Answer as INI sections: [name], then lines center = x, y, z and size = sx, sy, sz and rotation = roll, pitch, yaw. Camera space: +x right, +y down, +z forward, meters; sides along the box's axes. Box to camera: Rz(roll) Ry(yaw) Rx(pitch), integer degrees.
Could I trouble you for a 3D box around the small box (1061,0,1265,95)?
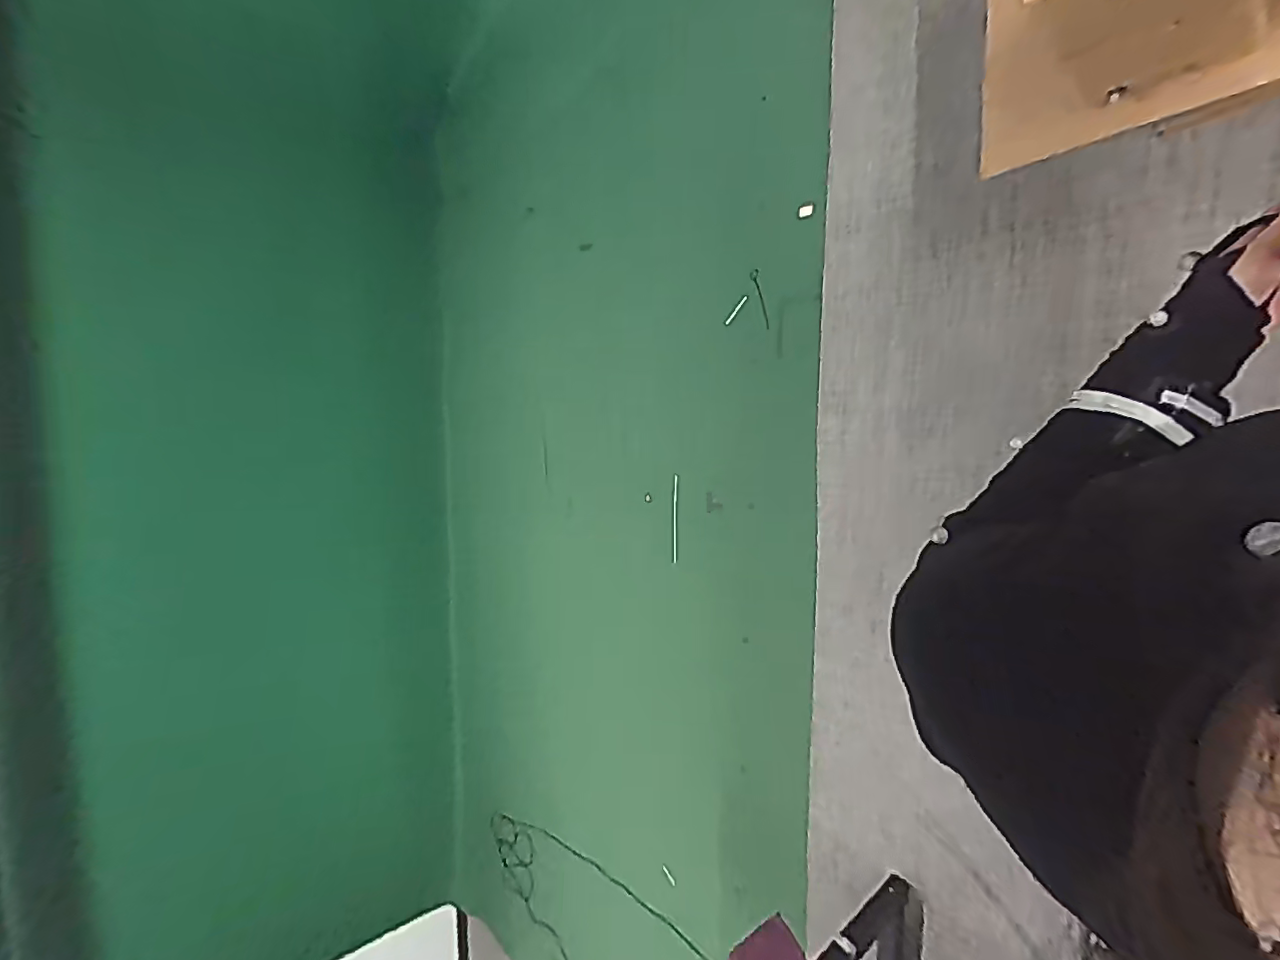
[small box]
center = 0.661, -0.626, 0.679
size = 0.168, 0.176, 0.179
rotation = 8, 98, 50
